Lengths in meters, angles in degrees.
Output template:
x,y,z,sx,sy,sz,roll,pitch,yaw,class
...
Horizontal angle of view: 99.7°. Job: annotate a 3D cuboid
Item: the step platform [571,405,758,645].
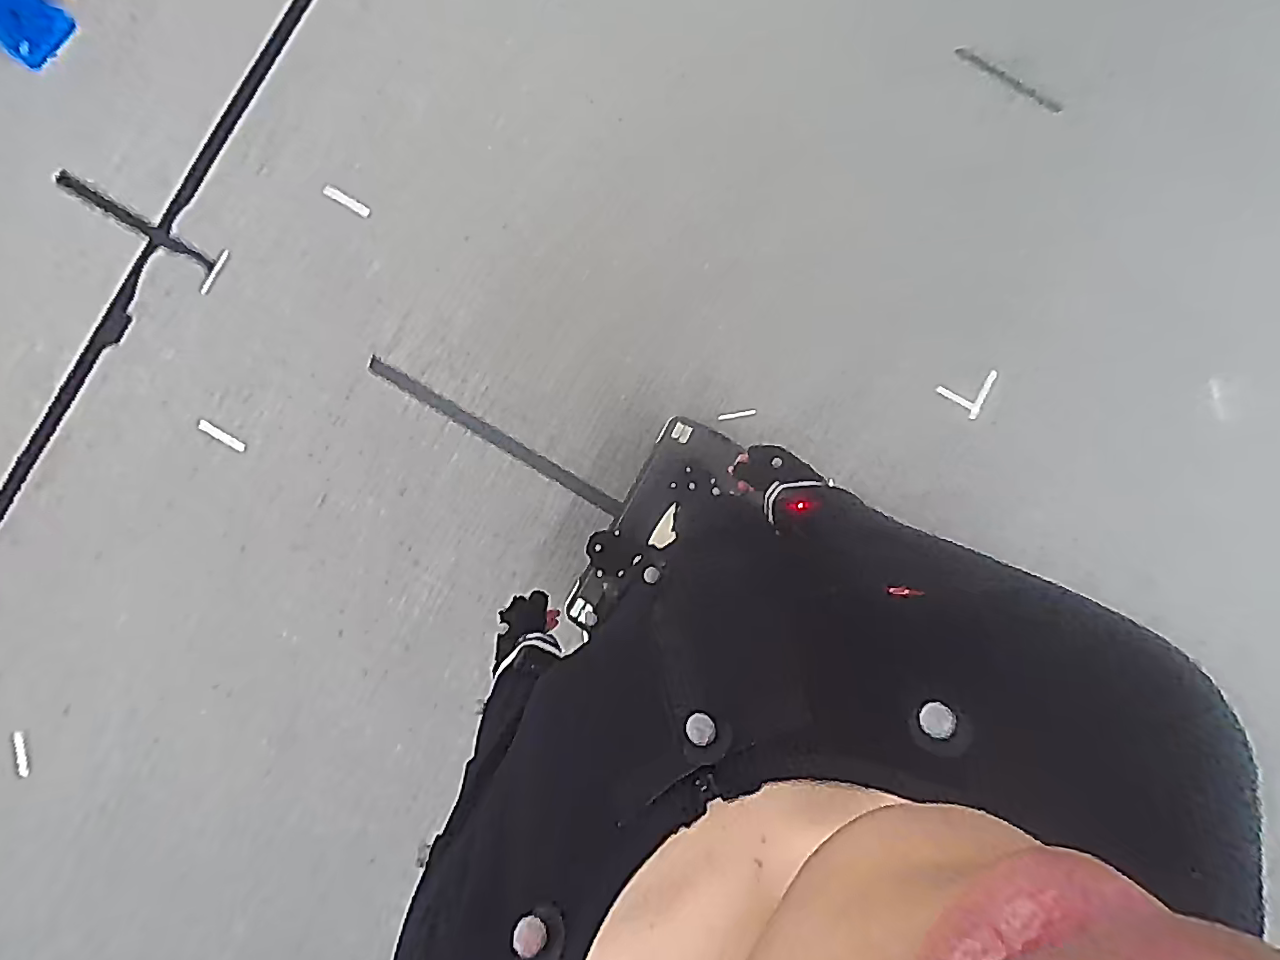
x,y,z,sx,sy,sz,roll,pitch,yaw,class
0.070,0.125,1.584,0.286,0.204,0.684,28,87,-2,step platform
